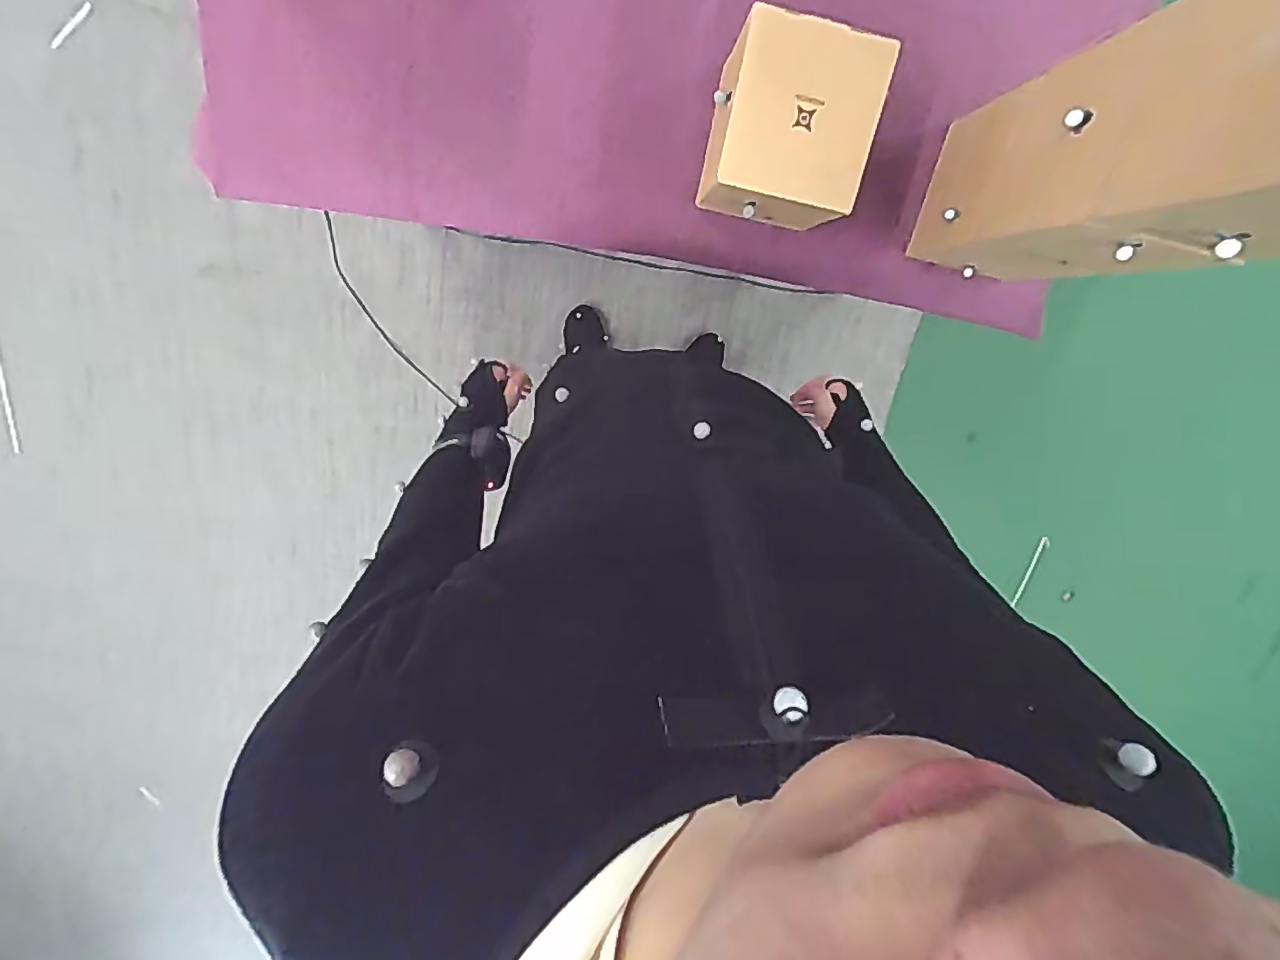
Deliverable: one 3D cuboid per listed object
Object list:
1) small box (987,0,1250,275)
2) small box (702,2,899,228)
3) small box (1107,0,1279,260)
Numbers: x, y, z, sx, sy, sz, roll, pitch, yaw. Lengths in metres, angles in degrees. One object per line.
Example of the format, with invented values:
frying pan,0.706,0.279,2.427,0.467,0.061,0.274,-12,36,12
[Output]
small box,0.497,-0.318,0.543,0.168,0.176,0.179,12,107,-4
small box,0.180,-0.429,0.672,0.168,0.176,0.179,11,107,-5
small box,0.501,-0.270,0.385,0.168,0.176,0.179,12,108,-5
